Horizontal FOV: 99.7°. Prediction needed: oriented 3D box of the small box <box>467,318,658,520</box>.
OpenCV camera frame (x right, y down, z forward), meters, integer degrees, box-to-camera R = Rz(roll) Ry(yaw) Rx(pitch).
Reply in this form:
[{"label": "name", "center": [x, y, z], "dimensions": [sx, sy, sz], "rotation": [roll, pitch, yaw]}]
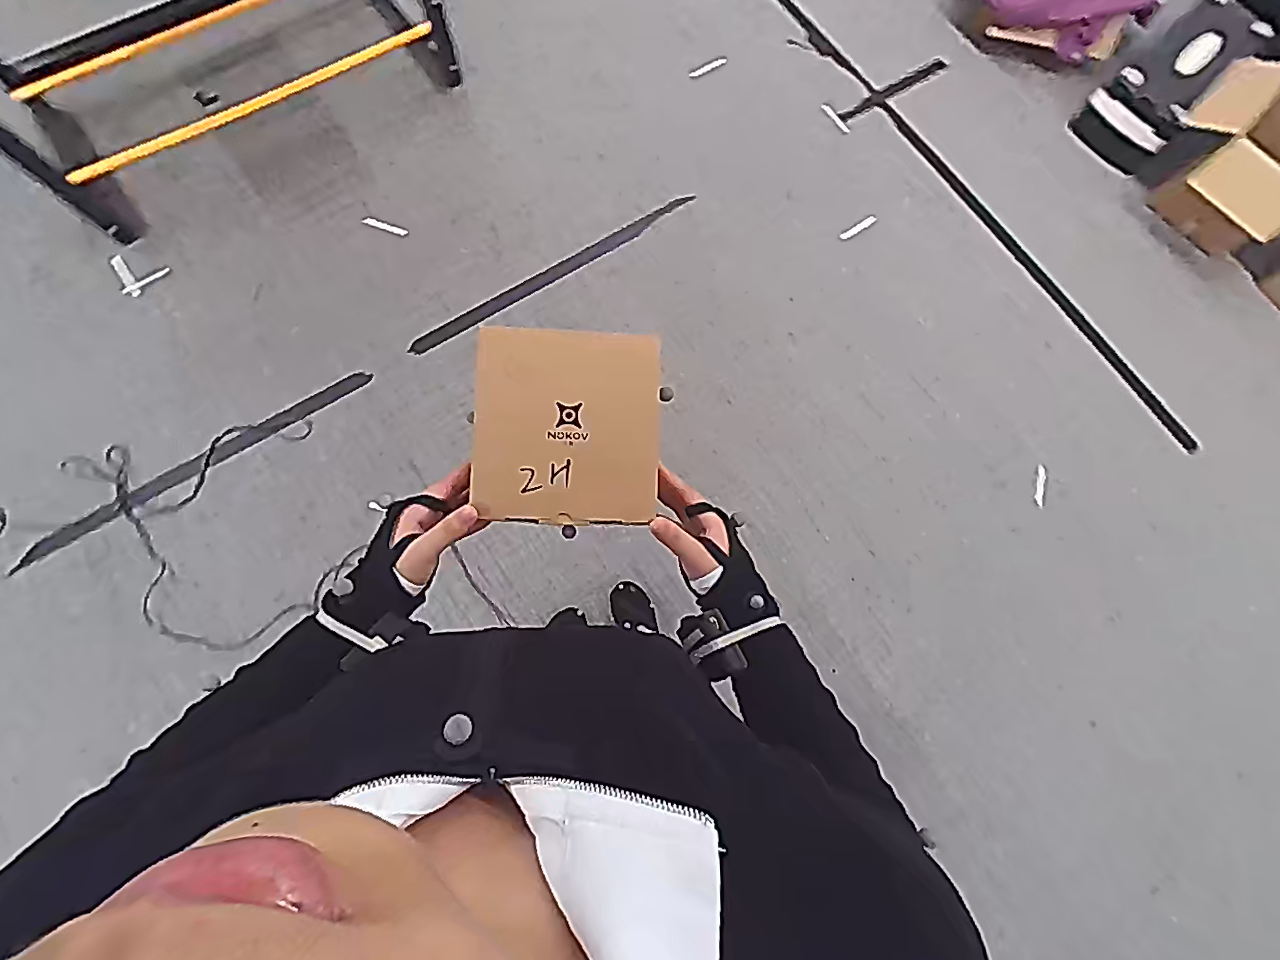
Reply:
[{"label": "small box", "center": [-0.073, -0.049, 0.559], "dimensions": [0.168, 0.176, 0.179], "rotation": [1, 85, -4]}]
